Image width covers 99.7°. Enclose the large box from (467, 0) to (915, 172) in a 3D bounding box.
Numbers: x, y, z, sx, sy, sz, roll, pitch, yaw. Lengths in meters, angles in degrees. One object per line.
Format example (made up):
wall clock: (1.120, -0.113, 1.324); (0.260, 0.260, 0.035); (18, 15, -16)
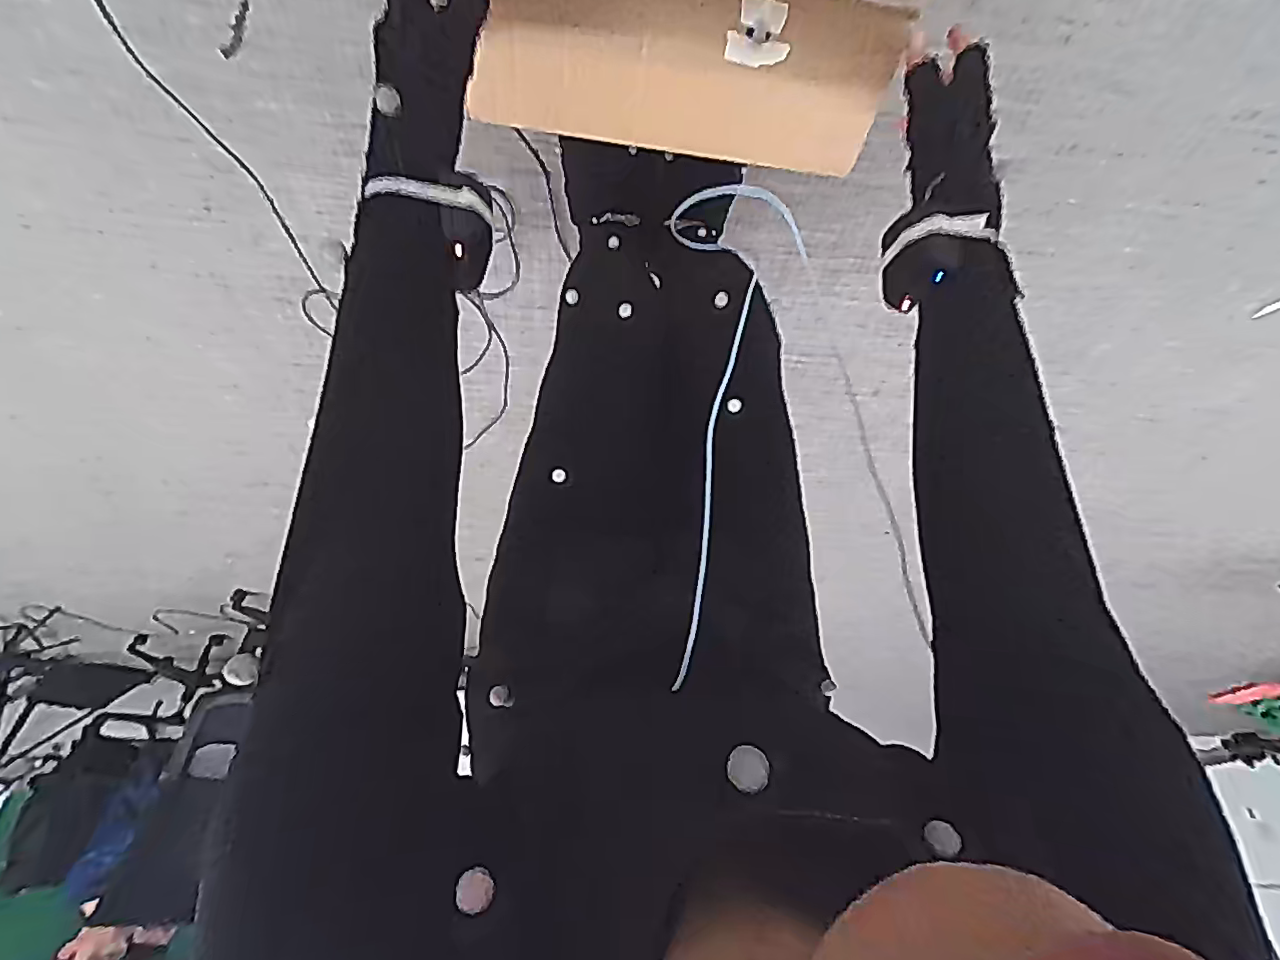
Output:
large box: (0.047, -0.562, 0.544); (0.408, 0.320, 0.320); (5, 144, -7)
